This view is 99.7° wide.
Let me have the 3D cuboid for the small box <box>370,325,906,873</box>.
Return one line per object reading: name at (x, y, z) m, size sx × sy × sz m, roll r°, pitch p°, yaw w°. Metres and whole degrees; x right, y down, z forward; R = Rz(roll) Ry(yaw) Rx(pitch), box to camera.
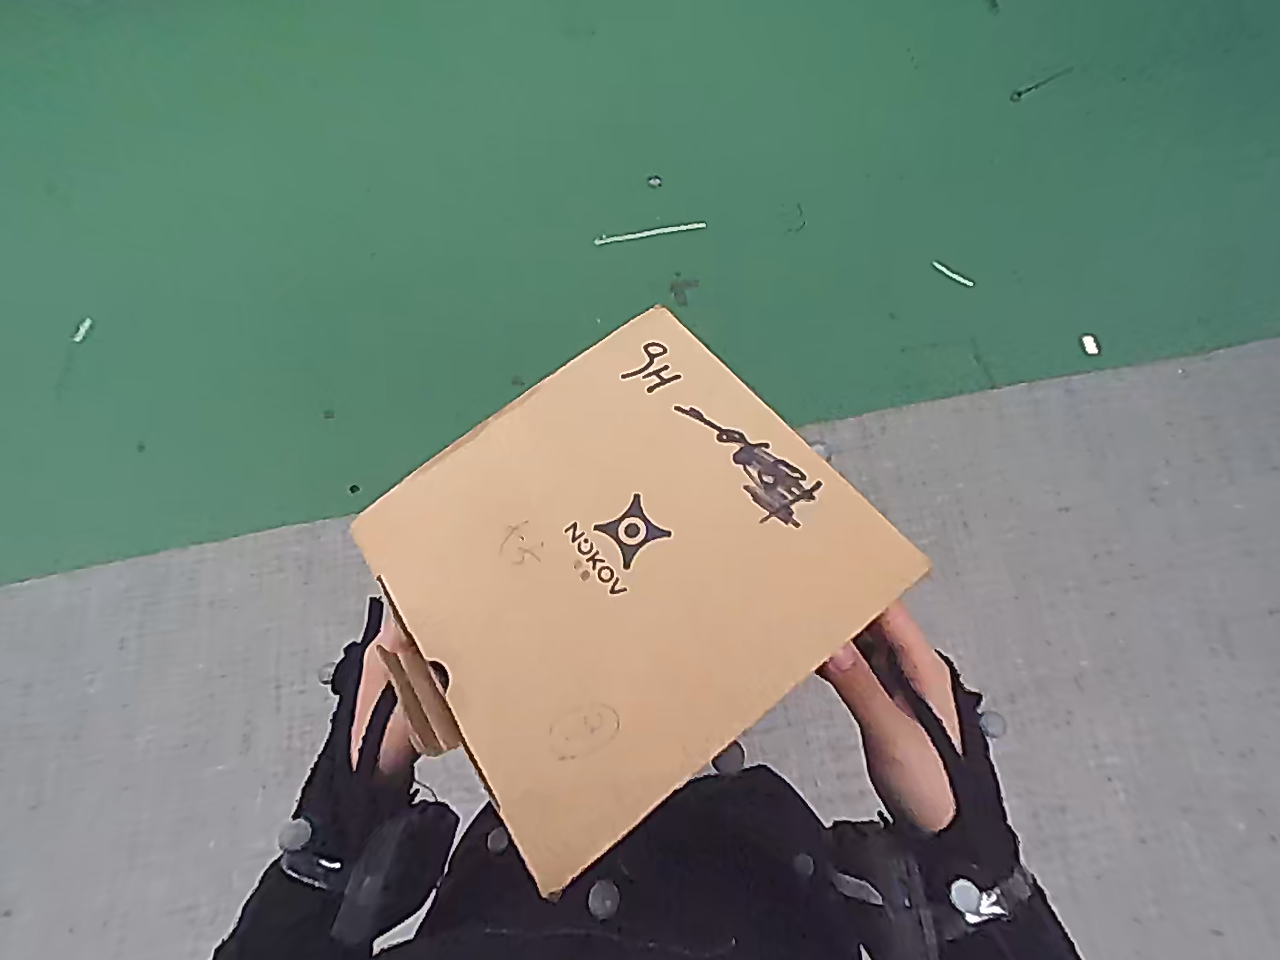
small box at (0.001, 0.060, 0.300) m, size 0.179 × 0.176 × 0.168 m, roll -37°, pitch 68°, yaw -7°
